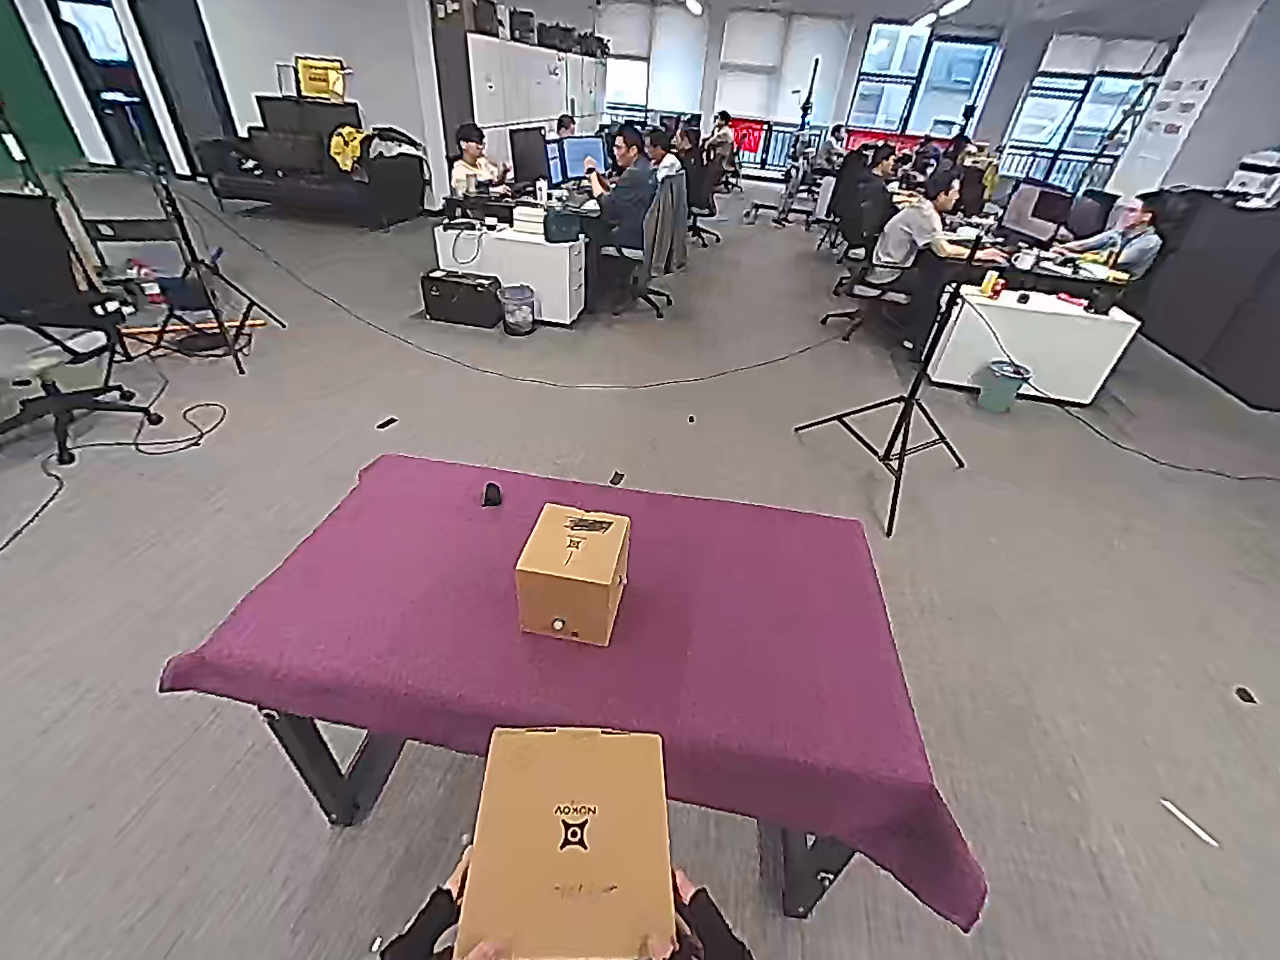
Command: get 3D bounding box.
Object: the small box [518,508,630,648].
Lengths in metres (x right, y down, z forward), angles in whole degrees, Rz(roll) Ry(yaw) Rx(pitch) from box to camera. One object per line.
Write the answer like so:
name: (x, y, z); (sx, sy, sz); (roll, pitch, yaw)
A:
small box: (-0.118, 0.180, 1.006); (0.168, 0.176, 0.179); (9, 37, 5)

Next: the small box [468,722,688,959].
small box: (-0.060, 0.356, 0.508); (0.168, 0.176, 0.179); (4, 36, -7)
